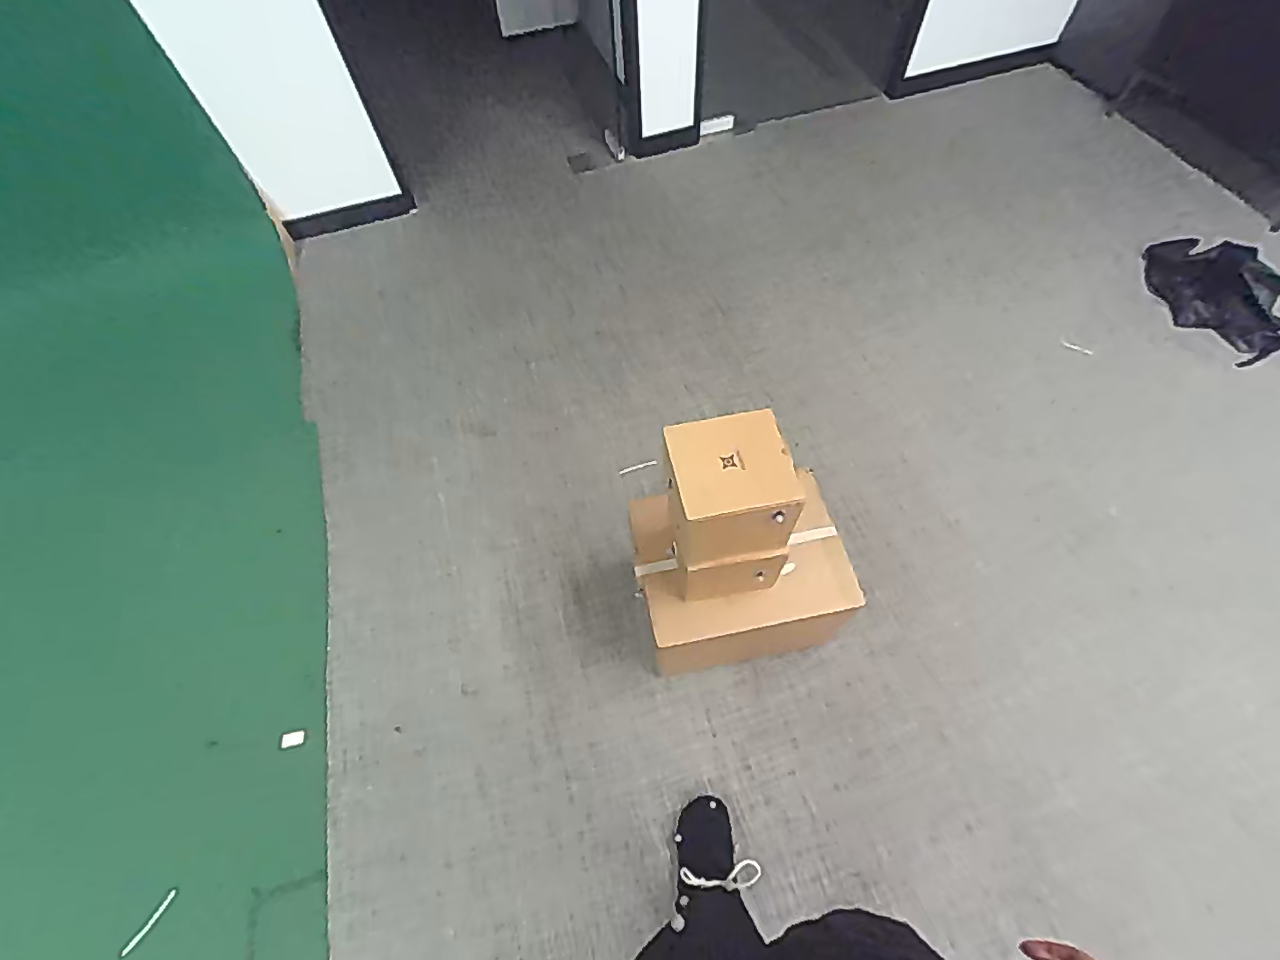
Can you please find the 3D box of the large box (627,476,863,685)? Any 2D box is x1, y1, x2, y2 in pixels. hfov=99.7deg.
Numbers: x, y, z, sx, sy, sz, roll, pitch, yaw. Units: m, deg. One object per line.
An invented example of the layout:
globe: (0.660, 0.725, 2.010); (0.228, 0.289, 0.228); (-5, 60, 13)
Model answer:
large box: (0.200, 0.232, 1.201); (0.408, 0.320, 0.320); (-10, 61, -5)

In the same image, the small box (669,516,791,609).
small box: (0.152, 0.121, 0.987); (0.179, 0.176, 0.168); (-11, 58, -3)

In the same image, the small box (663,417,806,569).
small box: (0.137, 0.027, 0.855); (0.179, 0.176, 0.168); (-10, 58, -4)
